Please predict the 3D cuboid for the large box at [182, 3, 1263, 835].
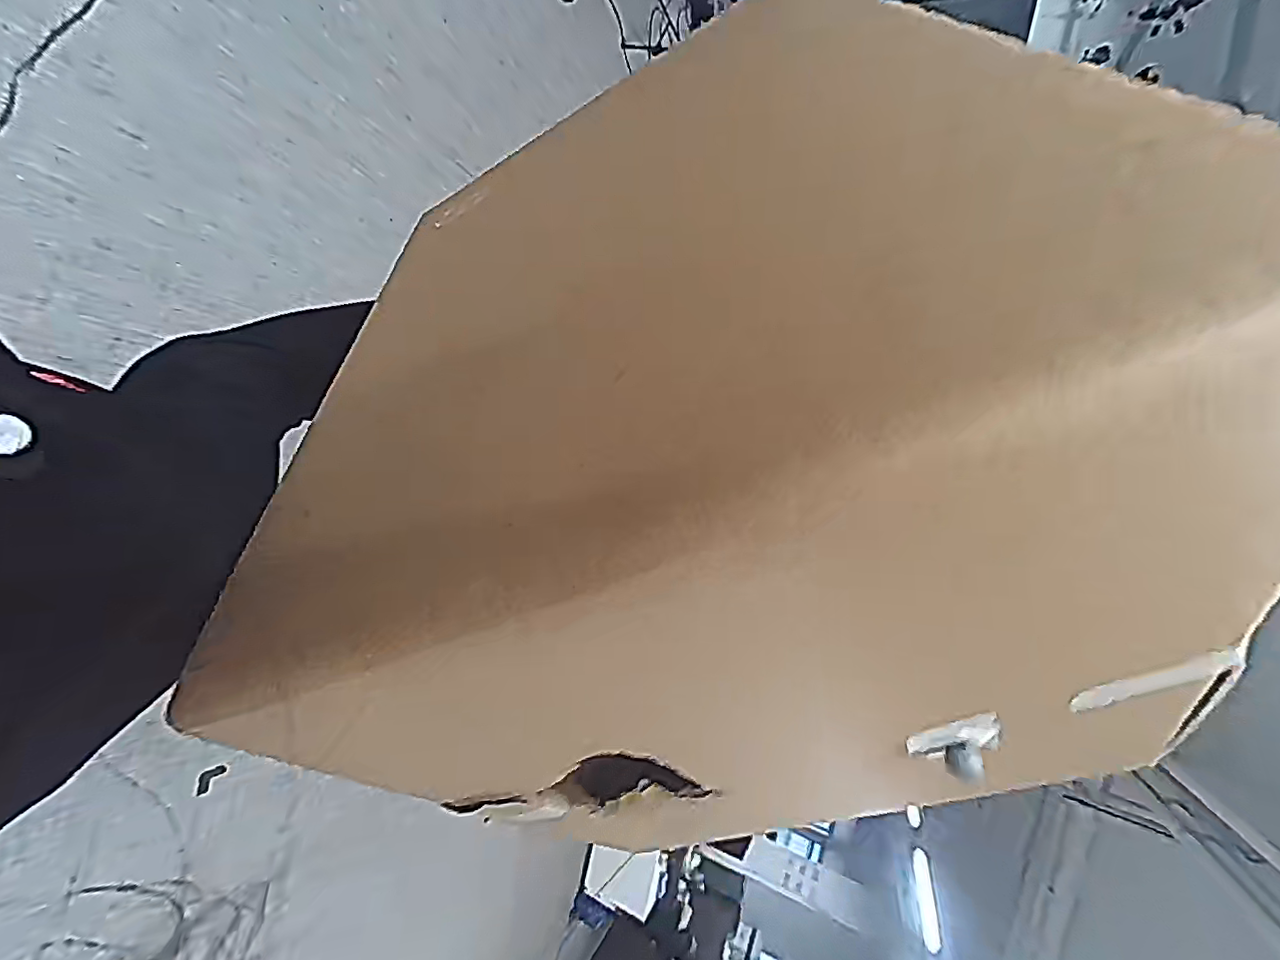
[{"bbox_3d":[0.040,-0.039,0.365,0.320,0.320,0.408,53,23,-41],"label":"large box"}]
